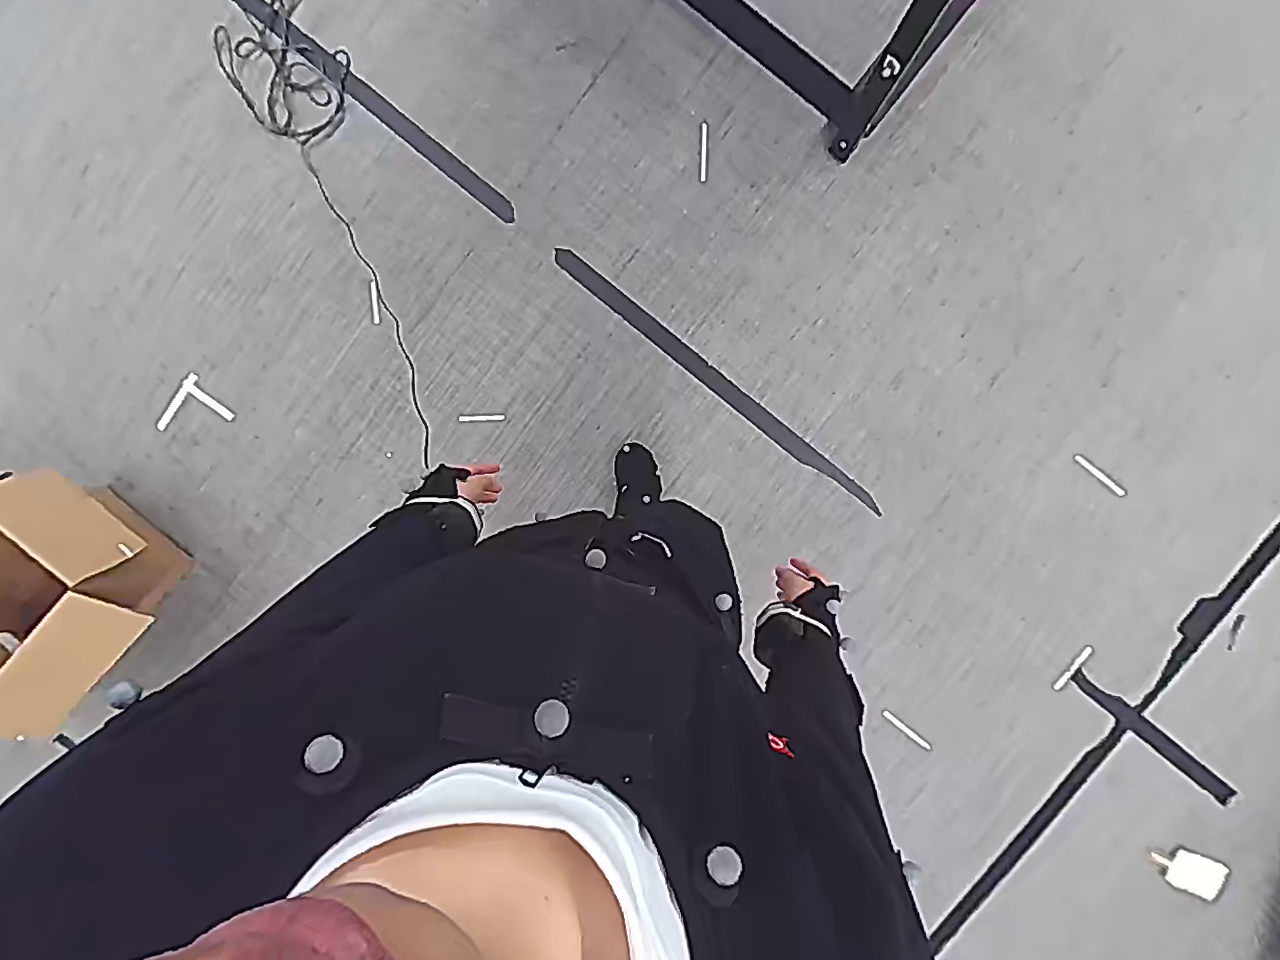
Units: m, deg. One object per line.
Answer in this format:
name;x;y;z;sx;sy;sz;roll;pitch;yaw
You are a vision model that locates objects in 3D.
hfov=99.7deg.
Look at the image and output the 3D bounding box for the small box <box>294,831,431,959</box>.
small box;-0.591;0.929;1.179;0.168;0.176;0.179;36;92;-1
